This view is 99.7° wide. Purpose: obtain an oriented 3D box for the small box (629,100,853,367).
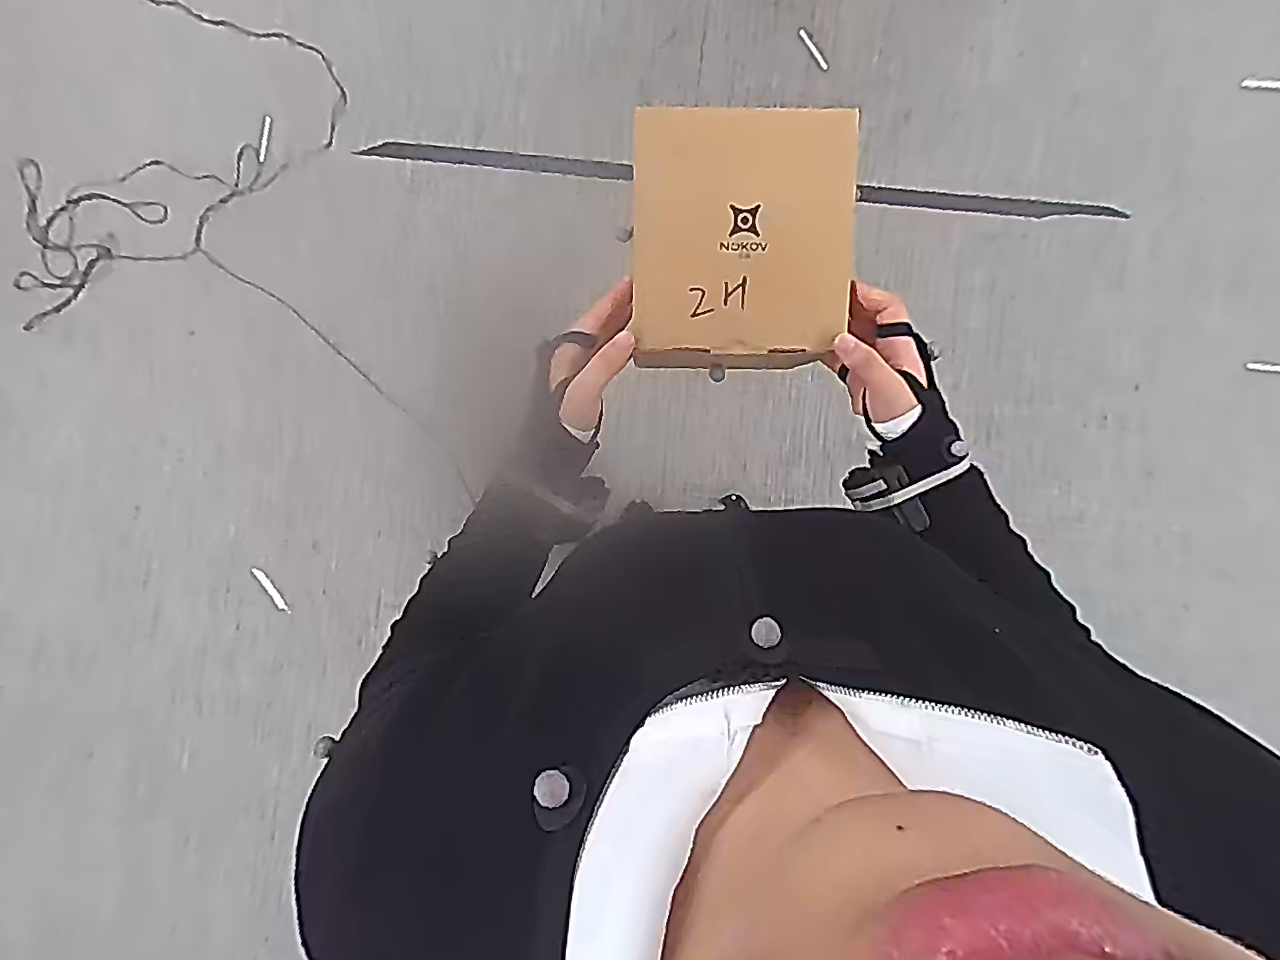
[{"bbox_3d":[0.075,-0.200,0.485,0.168,0.176,0.179,1,97,1],"label":"small box"}]
